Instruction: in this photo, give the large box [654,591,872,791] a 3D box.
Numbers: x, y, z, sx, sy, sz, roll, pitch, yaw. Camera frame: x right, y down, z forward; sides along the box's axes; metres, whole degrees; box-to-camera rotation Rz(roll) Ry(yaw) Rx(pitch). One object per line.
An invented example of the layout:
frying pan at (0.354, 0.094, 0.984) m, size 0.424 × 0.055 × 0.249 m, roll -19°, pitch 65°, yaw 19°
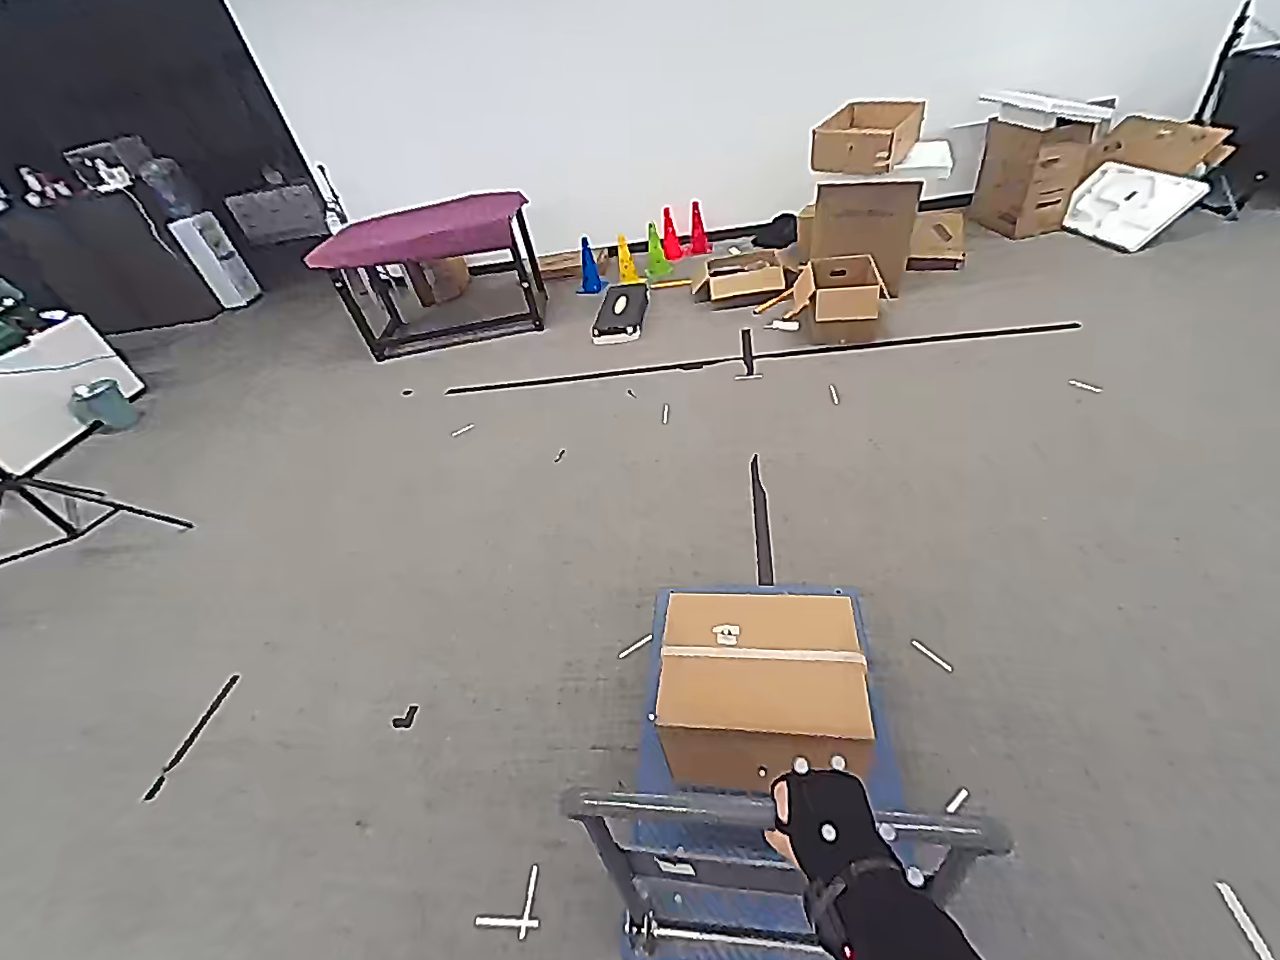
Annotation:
large box at (0.266, 0.467, 1.204) m, size 0.408 × 0.320 × 0.320 m, roll -3°, pitch 40°, yaw 13°
